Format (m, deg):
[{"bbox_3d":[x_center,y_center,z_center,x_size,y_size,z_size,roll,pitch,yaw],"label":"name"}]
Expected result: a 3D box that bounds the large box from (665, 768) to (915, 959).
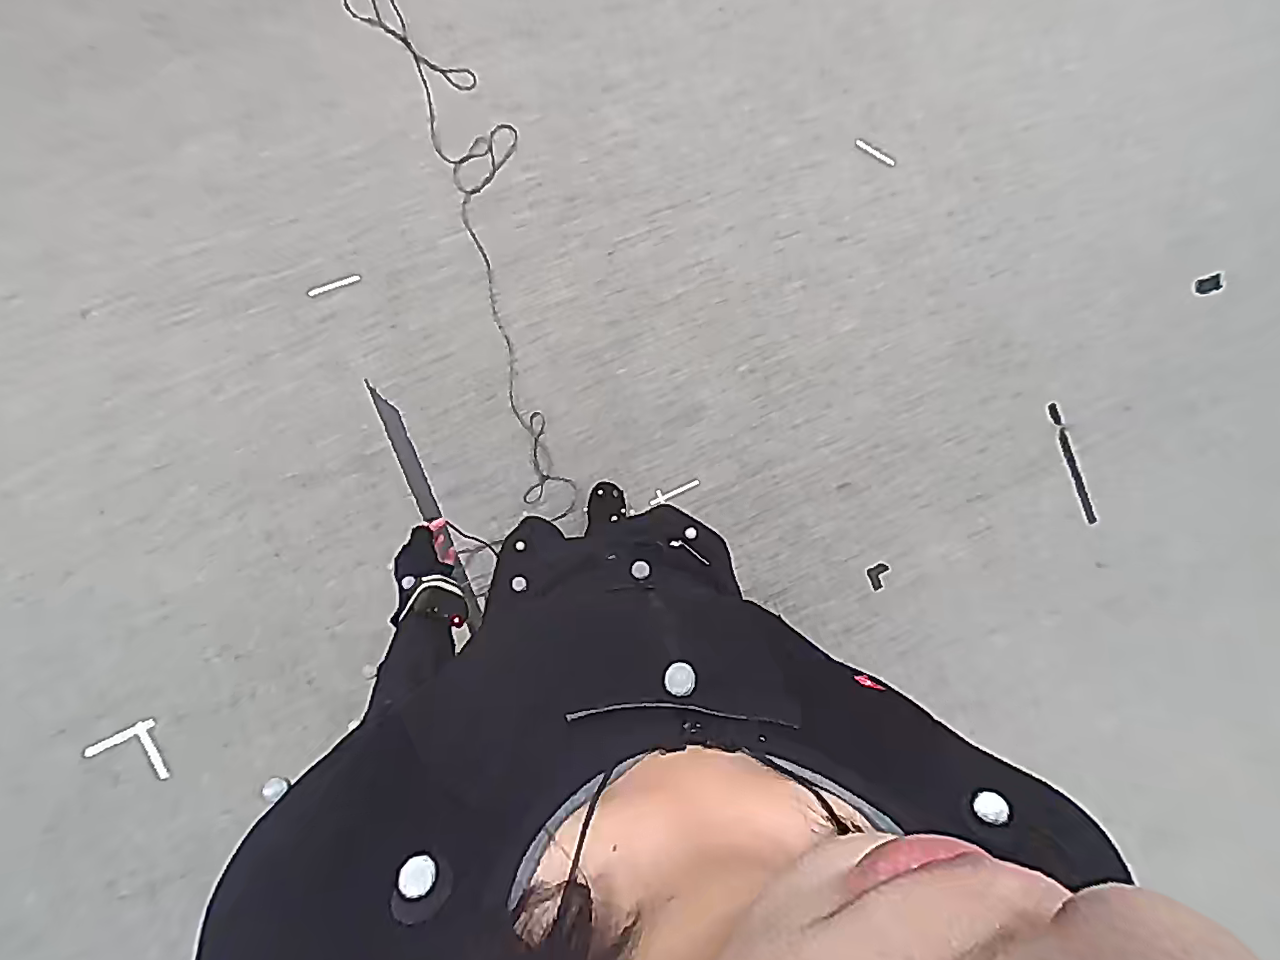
[{"bbox_3d":[0.315,0.952,1.225,0.408,0.320,0.320,-25,91,-5],"label":"large box"}]
